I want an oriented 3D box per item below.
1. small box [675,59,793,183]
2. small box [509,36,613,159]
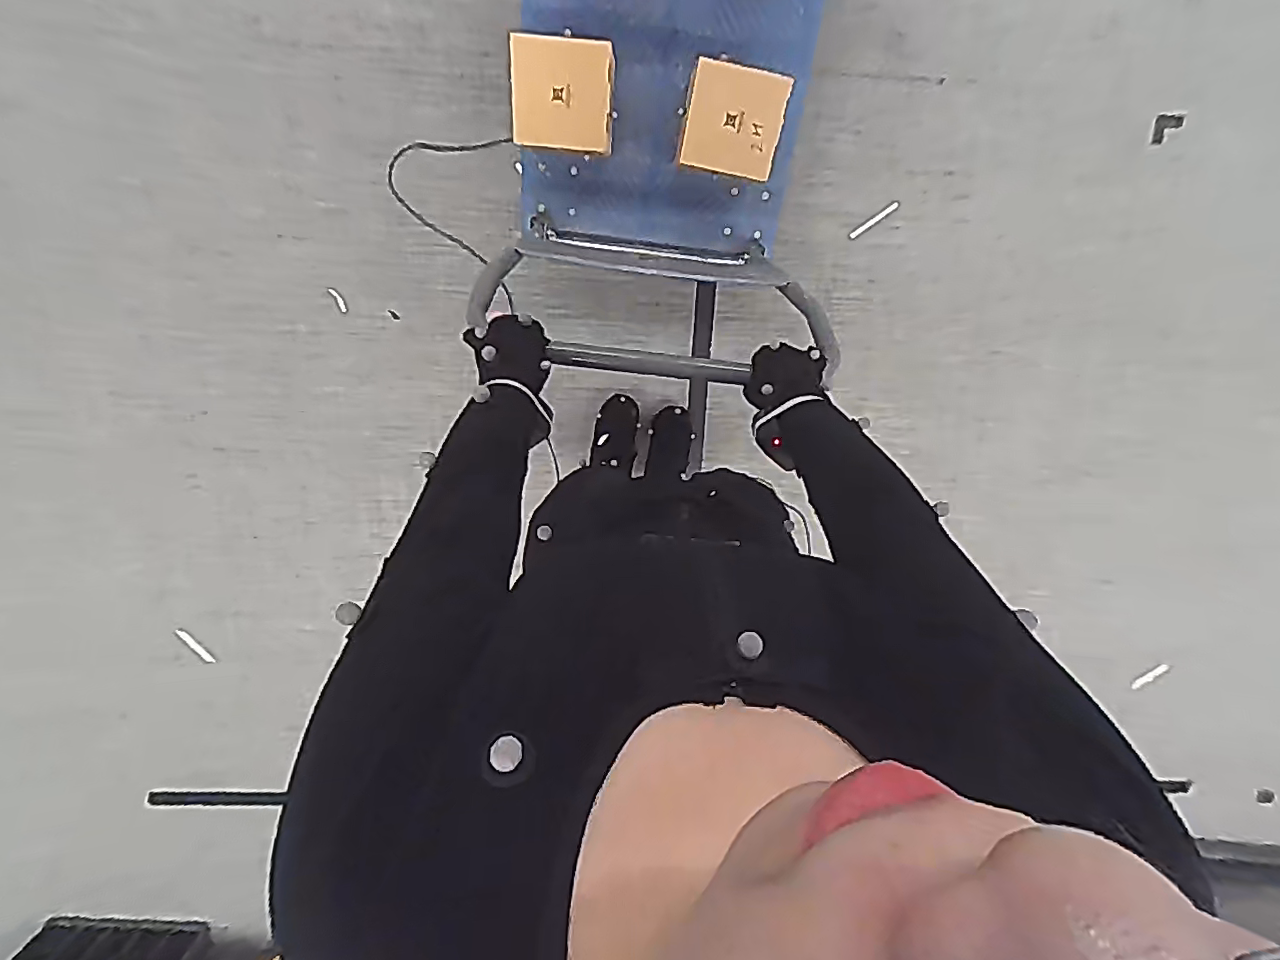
[{"bbox_3d":[0.170,-0.686,1.054,0.179,0.176,0.168,9,119,-6],"label":"small box"},{"bbox_3d":[-0.144,-0.718,1.033,0.179,0.176,0.168,2,118,-4],"label":"small box"}]
